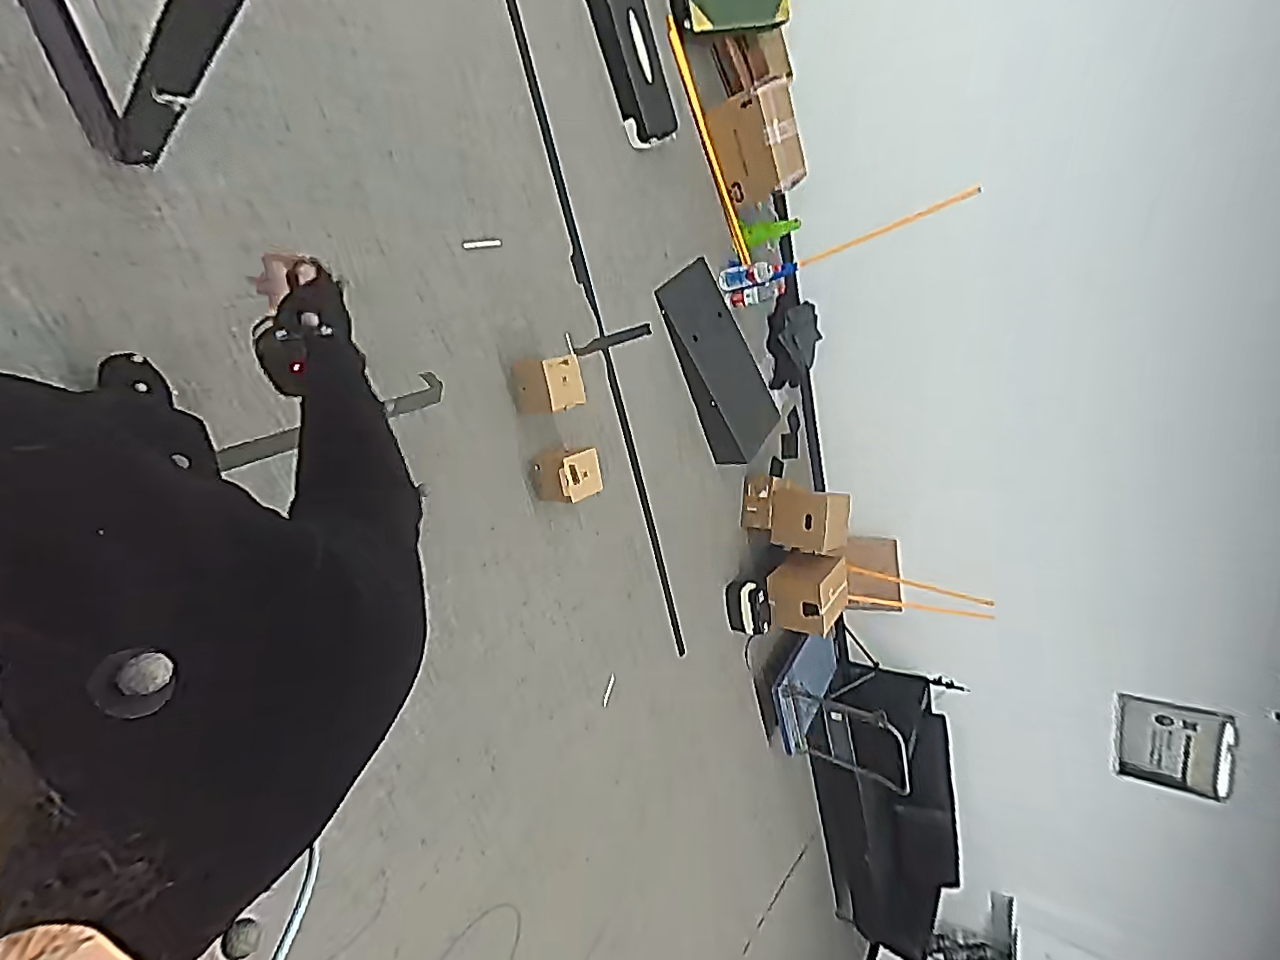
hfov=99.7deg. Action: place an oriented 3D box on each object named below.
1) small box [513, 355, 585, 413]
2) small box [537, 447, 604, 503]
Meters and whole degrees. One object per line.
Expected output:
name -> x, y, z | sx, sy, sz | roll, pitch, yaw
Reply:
small box -> -0.320, -0.336, 1.900 | 0.168, 0.176, 0.179 | -27, 113, -48
small box -> -0.261, -0.021, 1.985 | 0.179, 0.176, 0.168 | -26, 112, -49
